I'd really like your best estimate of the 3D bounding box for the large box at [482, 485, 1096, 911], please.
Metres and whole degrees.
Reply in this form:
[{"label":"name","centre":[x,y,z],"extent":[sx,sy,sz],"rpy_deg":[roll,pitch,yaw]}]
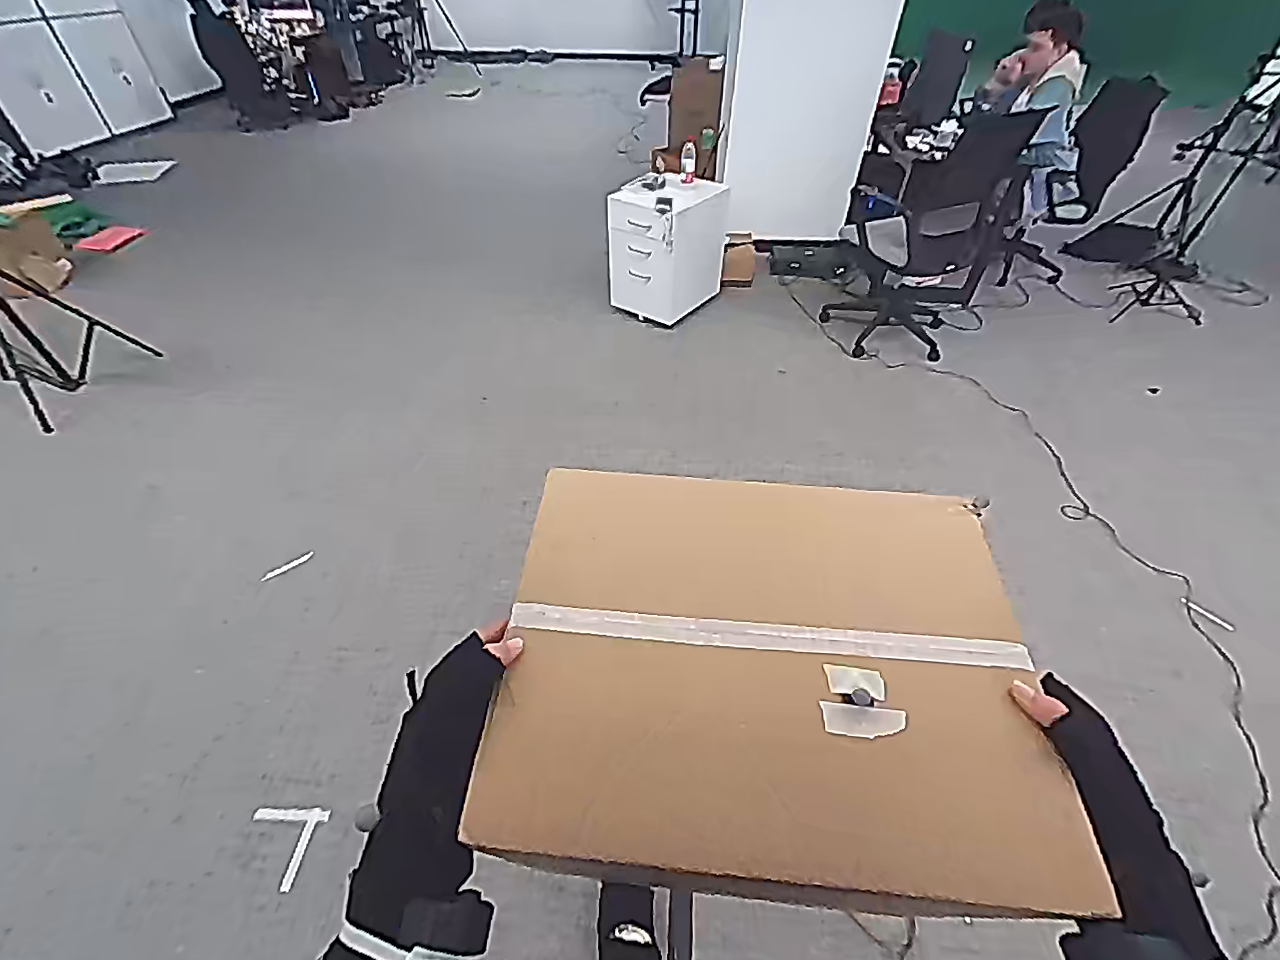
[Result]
[{"label":"large box","centre":[0.100,0.228,0.555],"extent":[0.408,0.320,0.320],"rpy_deg":[4,52,3]}]
